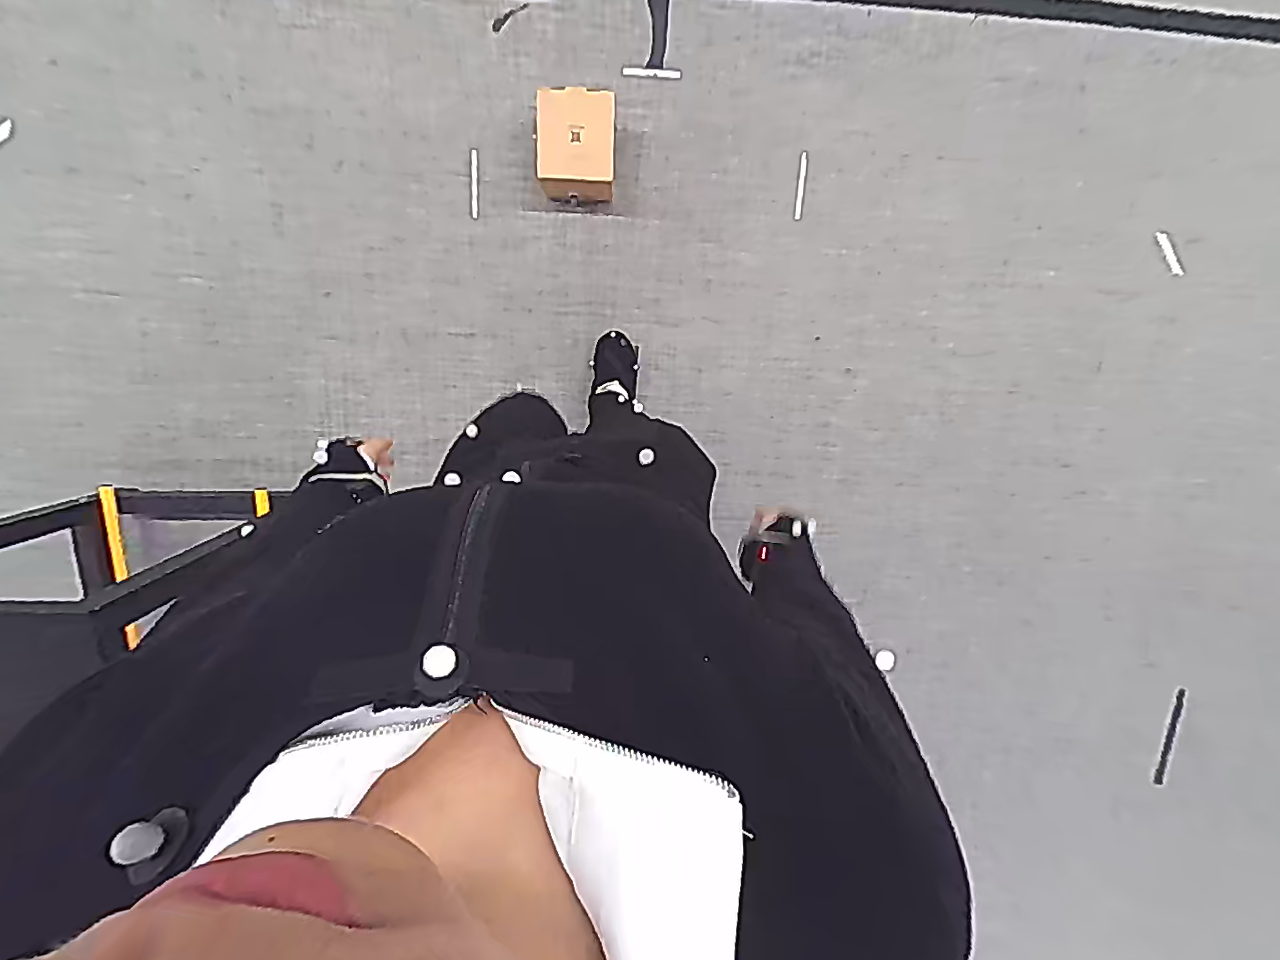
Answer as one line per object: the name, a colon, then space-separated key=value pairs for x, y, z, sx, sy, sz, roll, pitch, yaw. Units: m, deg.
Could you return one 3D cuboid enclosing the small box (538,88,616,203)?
small box: x=-0.139 y=-0.748 z=1.225 sx=0.168 sy=0.176 sz=0.179 roll=1 pitch=104 yaw=-2
